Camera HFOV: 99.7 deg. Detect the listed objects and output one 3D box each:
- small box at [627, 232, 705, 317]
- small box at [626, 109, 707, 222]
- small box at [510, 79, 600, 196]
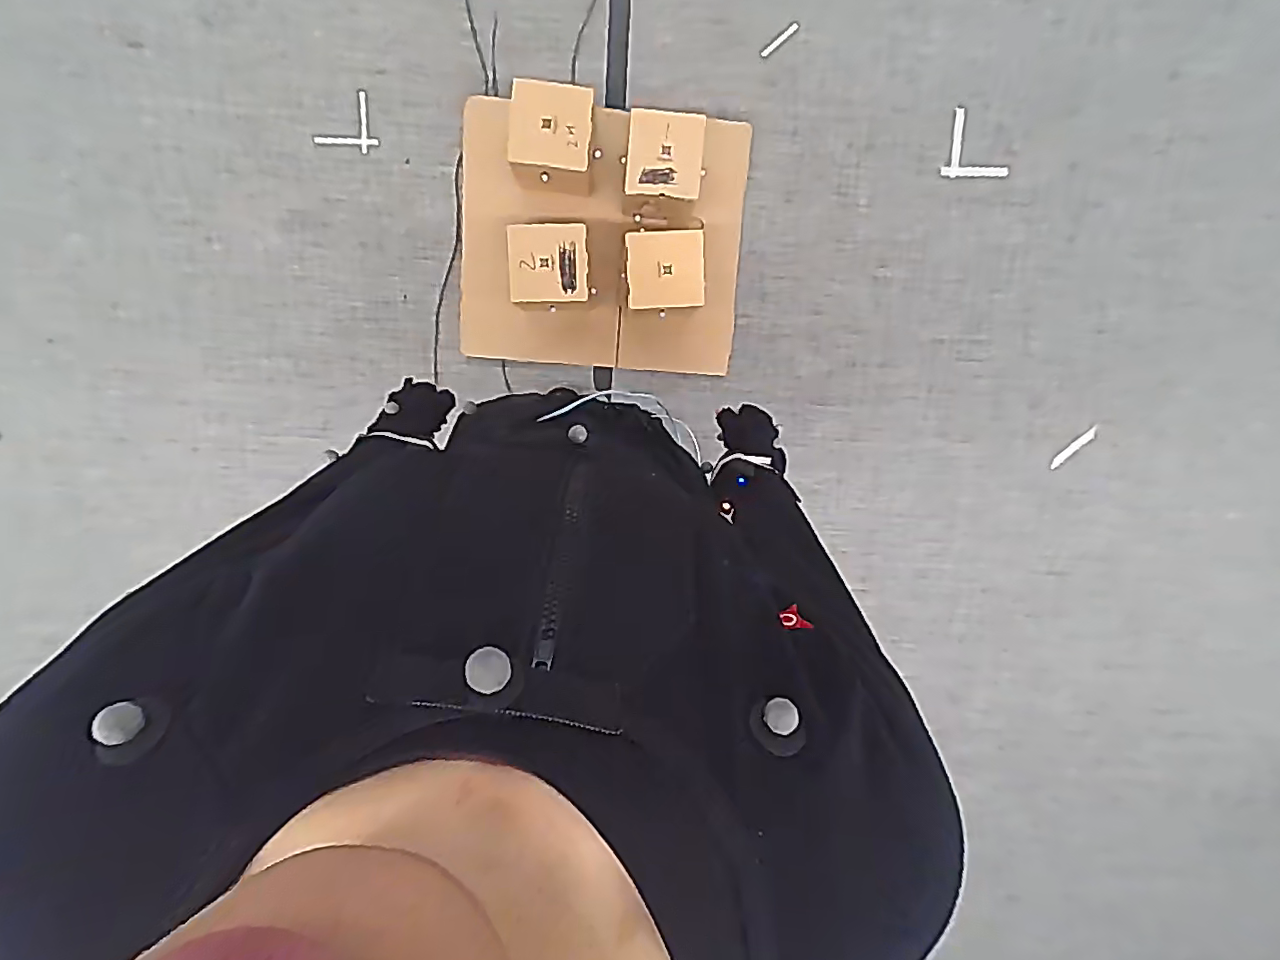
[{"bbox_3d":[0.059,-0.489,1.303,0.179,0.176,0.168,-2,100,0],"label":"small box"},{"bbox_3d":[0.057,-0.722,1.262,0.168,0.176,0.179,5,99,-2],"label":"small box"},{"bbox_3d":[-0.189,-0.773,1.241,0.179,0.176,0.168,7,100,-4],"label":"small box"}]
